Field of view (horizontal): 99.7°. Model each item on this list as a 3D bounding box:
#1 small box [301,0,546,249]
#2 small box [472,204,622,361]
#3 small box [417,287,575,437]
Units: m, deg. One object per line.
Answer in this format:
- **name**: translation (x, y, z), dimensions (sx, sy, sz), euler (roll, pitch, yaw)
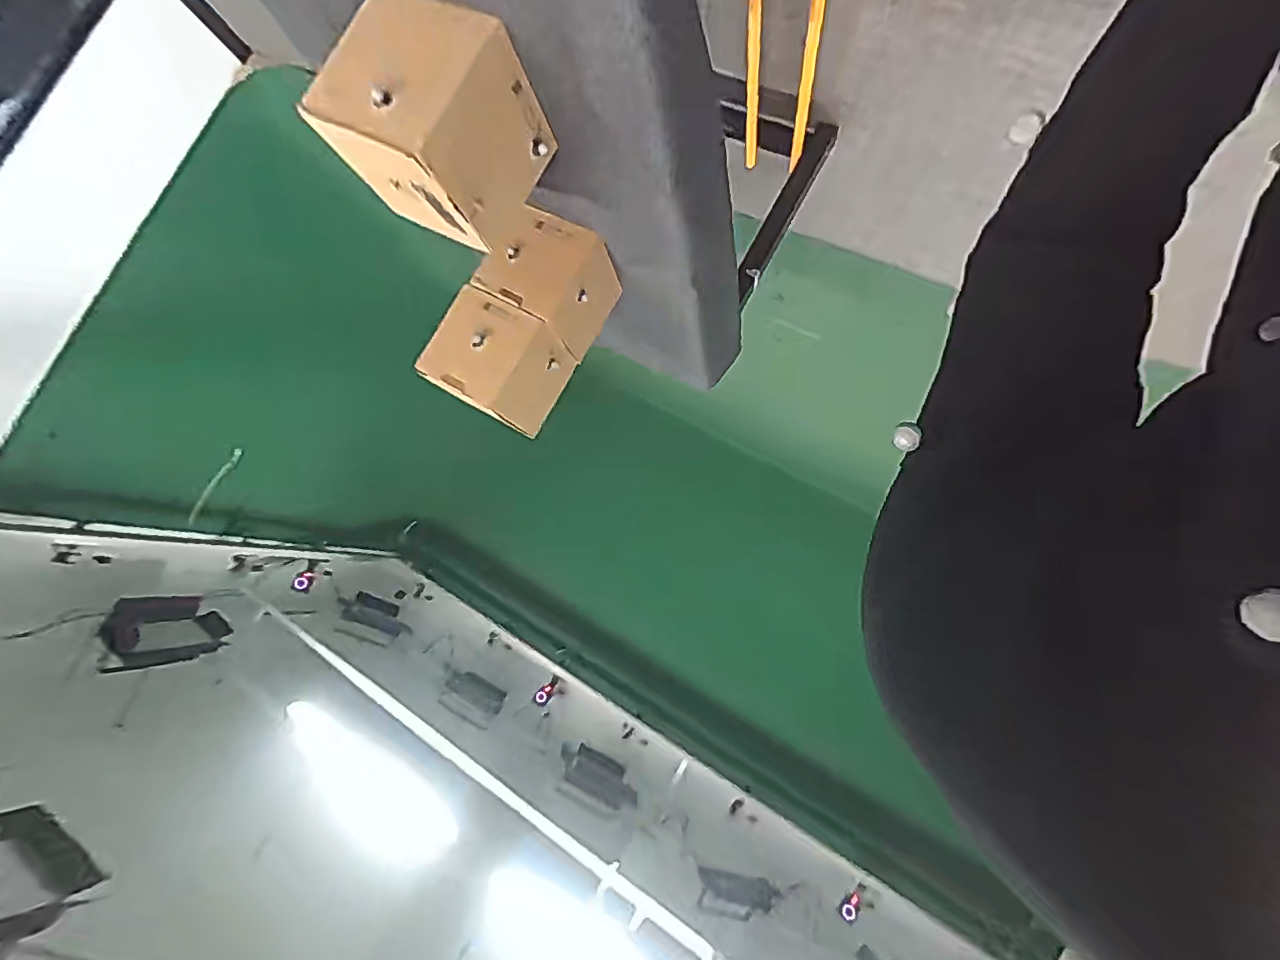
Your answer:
- **small box**: translation (-0.231, -0.412, 0.627), dimensions (0.179, 0.176, 0.168), euler (29, 176, 16)
- **small box**: translation (-0.153, -0.343, 0.948), dimensions (0.168, 0.176, 0.179), euler (29, 177, 15)
- **small box**: translation (-0.239, -0.203, 0.940), dimensions (0.168, 0.176, 0.179), euler (29, 175, 16)
